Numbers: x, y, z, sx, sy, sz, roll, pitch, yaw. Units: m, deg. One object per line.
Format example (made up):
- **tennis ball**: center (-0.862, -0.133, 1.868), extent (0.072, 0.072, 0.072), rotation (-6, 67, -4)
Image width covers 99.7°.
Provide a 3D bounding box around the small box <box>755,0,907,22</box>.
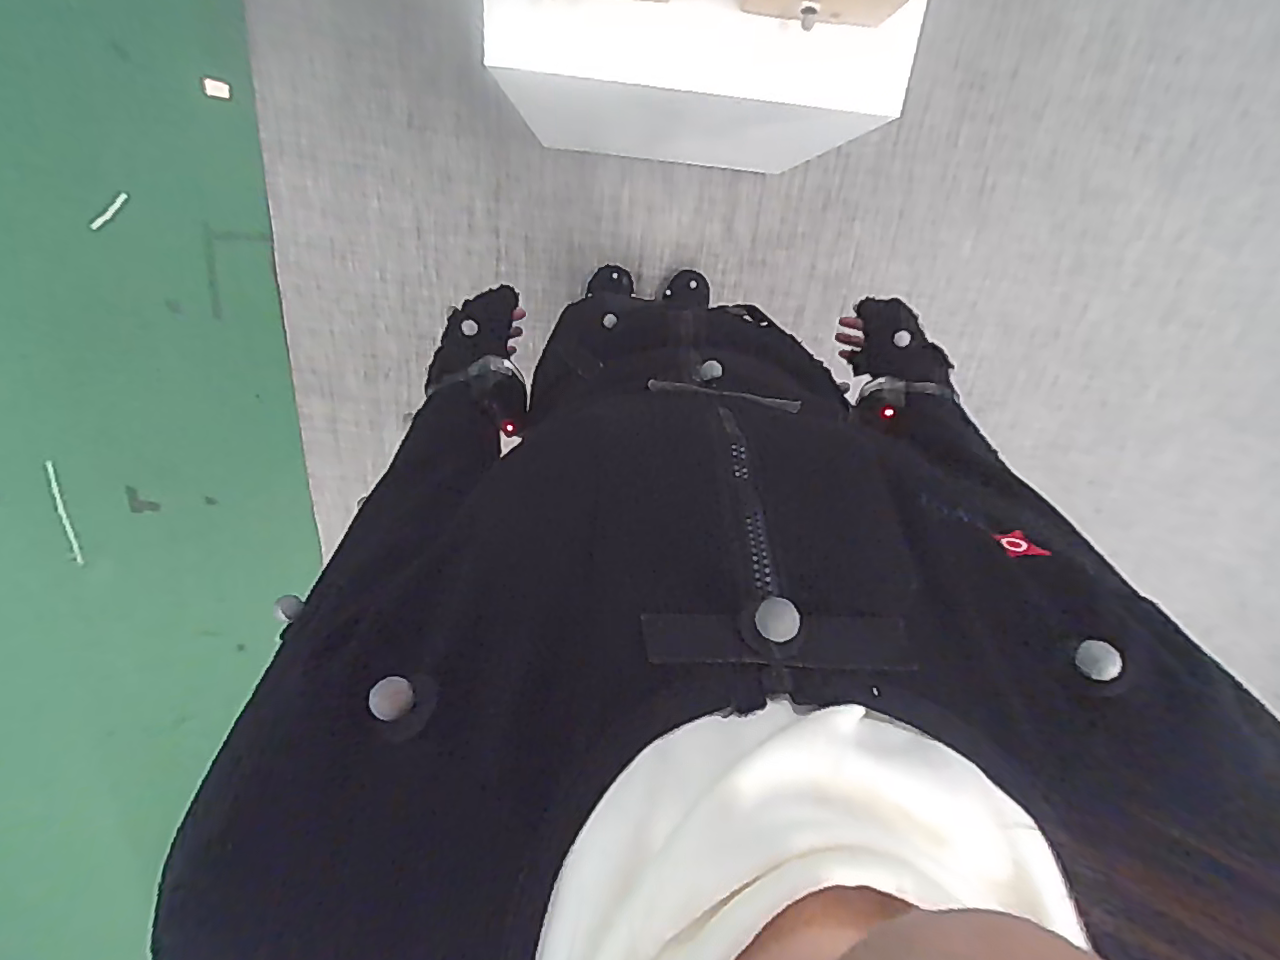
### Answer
- **small box**: center (0.207, -0.573, 0.506), extent (0.168, 0.176, 0.179), rotation (3, 115, -1)
